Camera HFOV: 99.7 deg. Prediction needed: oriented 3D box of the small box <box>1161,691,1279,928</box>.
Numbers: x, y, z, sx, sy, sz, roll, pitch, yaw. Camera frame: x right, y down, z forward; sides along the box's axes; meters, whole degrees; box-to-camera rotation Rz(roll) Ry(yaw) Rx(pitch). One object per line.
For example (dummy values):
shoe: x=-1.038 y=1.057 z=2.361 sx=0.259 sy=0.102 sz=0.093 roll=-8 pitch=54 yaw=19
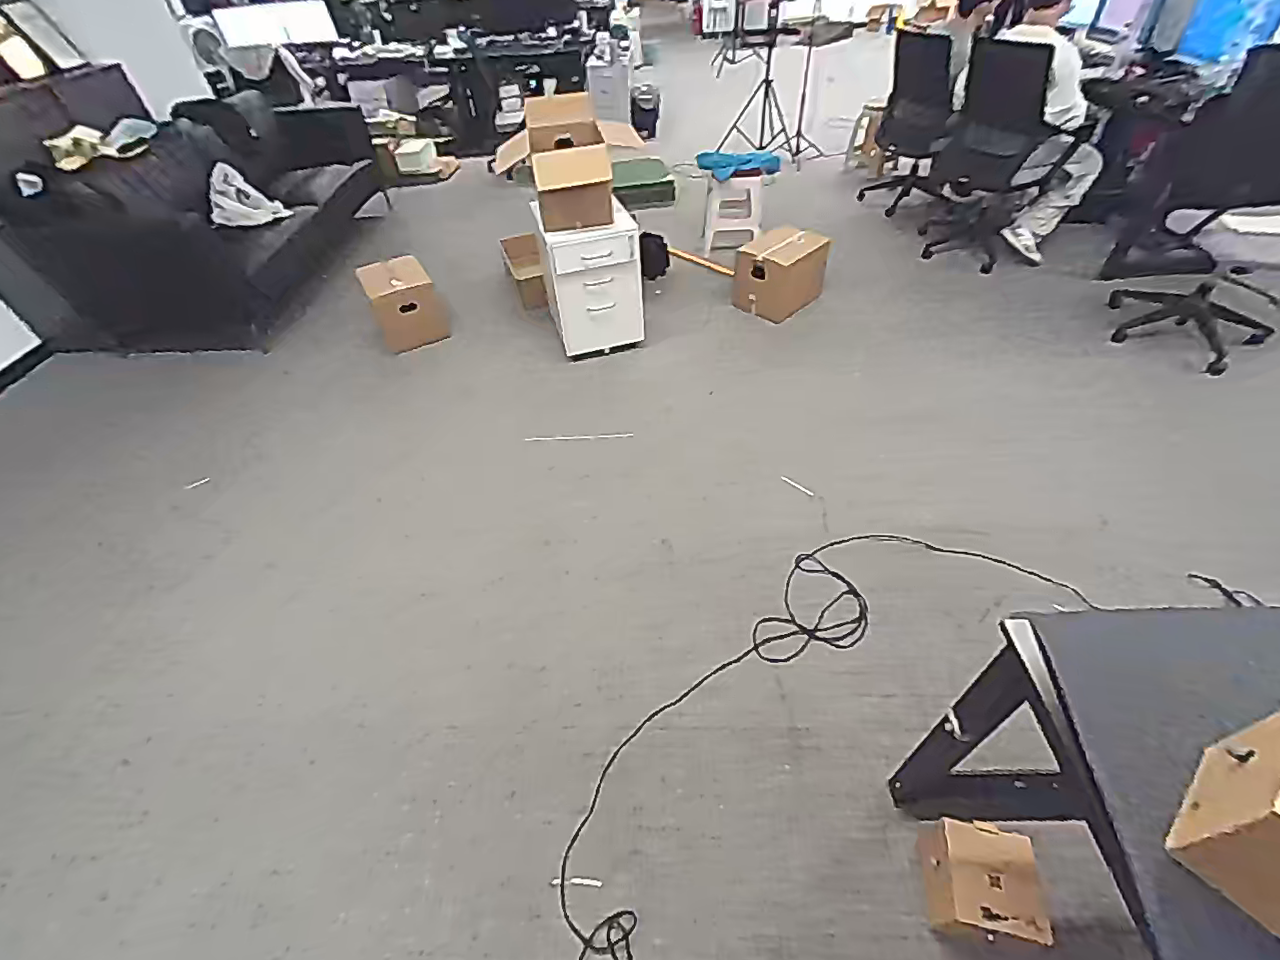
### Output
small box: x=0.698 y=0.354 z=0.548 sx=0.168 sy=0.176 sz=0.179 roll=-34 pitch=52 yaw=-25

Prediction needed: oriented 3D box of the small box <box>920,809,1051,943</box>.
small box: x=0.695 y=0.816 z=1.115 sx=0.168 sy=0.176 sz=0.179 roll=7 pitch=46 yaw=12
